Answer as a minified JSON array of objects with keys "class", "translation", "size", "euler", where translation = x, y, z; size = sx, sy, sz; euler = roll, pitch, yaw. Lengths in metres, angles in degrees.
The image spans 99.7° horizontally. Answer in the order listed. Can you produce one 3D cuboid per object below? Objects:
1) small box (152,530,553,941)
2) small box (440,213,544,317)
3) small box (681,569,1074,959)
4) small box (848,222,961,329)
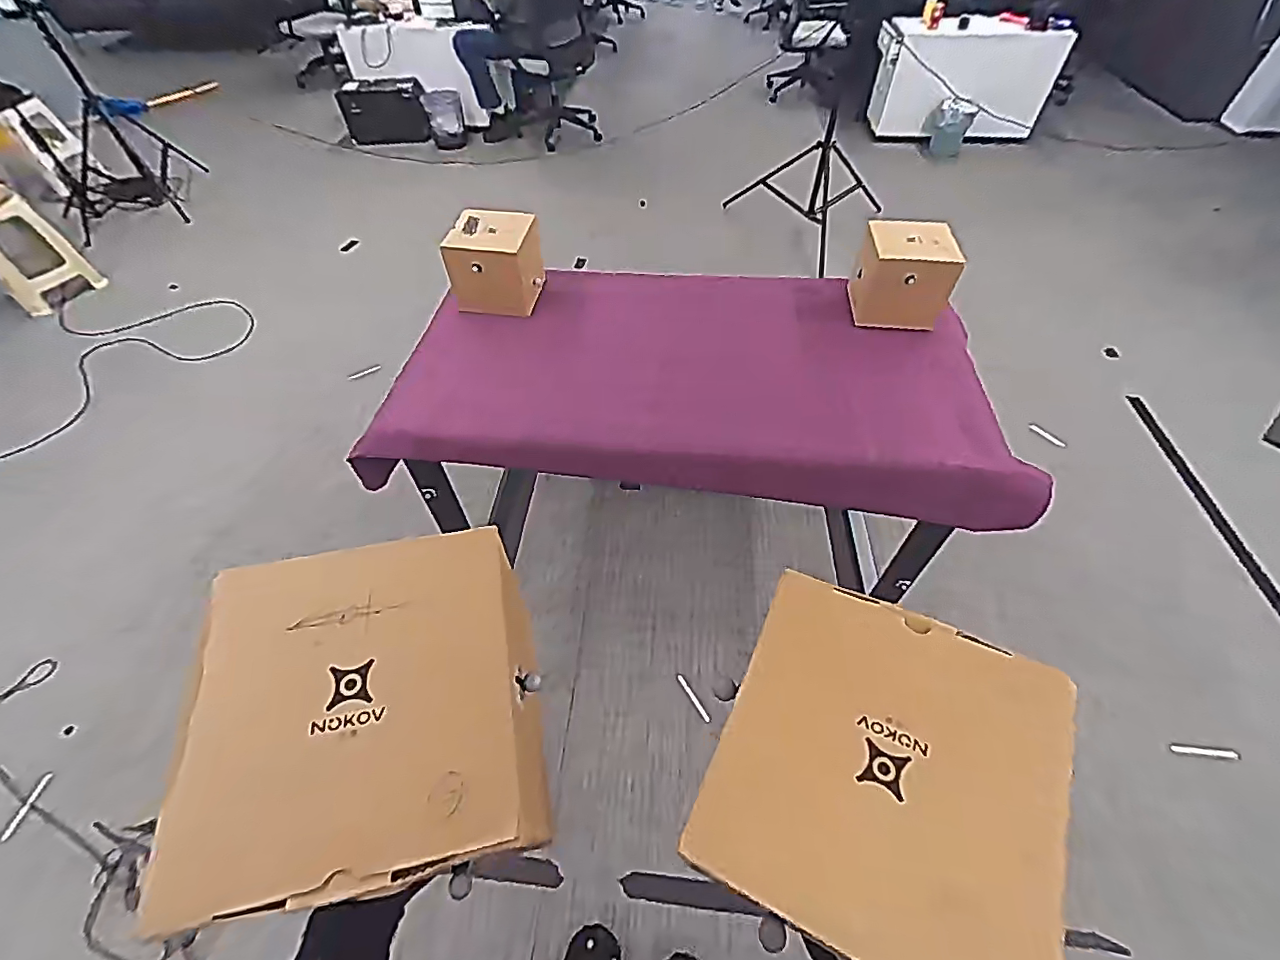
[{"class":"small box","translation":[-0.154,0.159,0.356],"size":[0.168,0.176,0.179],"euler":[-10,56,-10]},{"class":"small box","translation":[-0.338,-0.502,1.272],"size":[0.179,0.176,0.168],"euler":[7,53,4]},{"class":"small box","translation":[0.138,0.194,0.349],"size":[0.168,0.176,0.179],"euler":[19,57,19]},{"class":"small box","translation":[0.583,-0.460,1.223],"size":[0.179,0.176,0.168],"euler":[5,52,4]}]
